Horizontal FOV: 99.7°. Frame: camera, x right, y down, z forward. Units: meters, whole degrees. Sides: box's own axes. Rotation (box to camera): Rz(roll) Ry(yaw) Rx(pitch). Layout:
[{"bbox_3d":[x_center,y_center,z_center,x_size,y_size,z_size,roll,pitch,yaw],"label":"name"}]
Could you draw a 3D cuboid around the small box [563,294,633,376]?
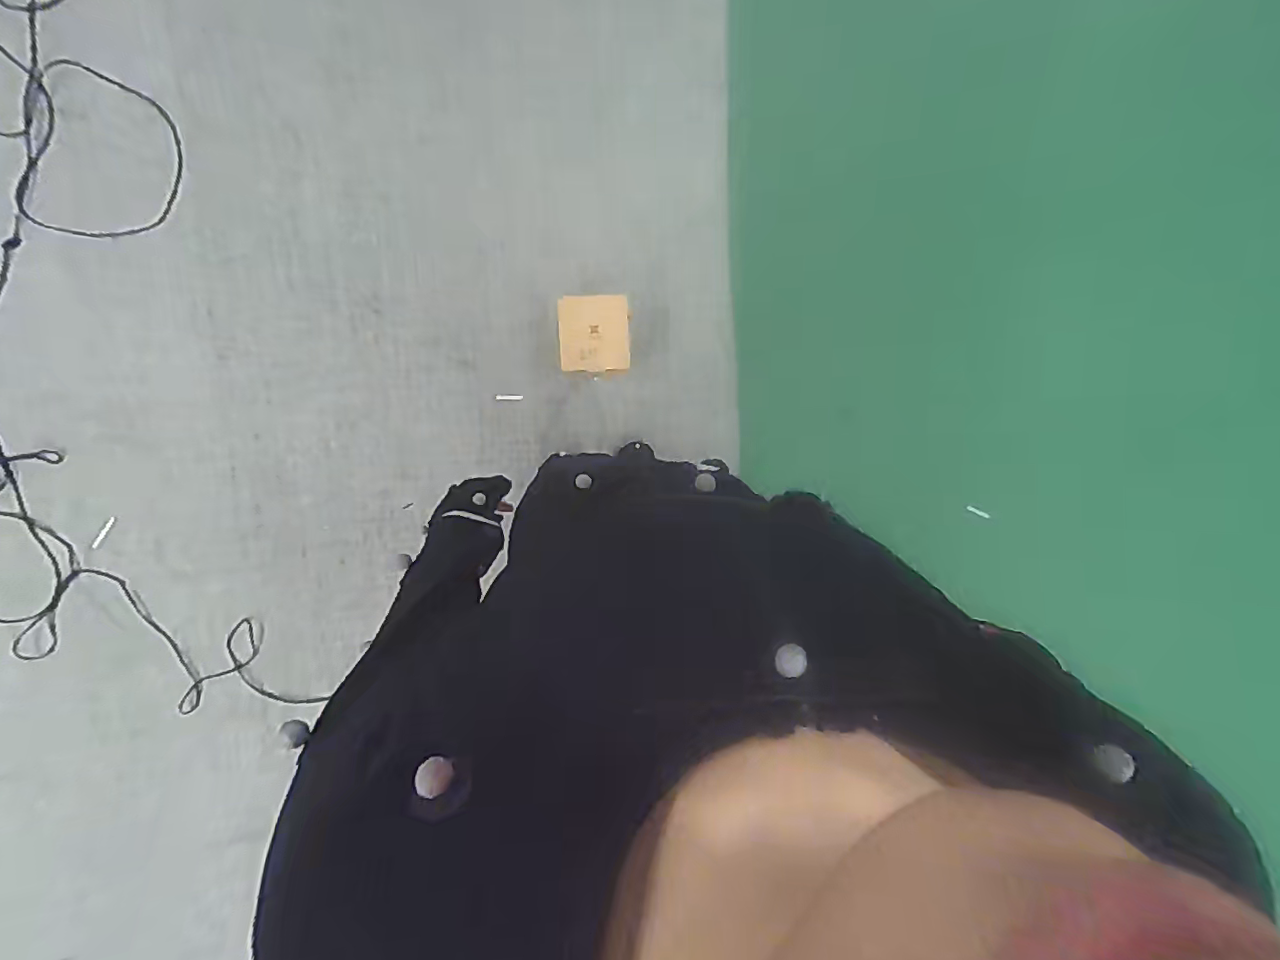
[{"bbox_3d":[-0.105,-0.359,1.360,0.168,0.176,0.179,-2,96,-3],"label":"small box"}]
